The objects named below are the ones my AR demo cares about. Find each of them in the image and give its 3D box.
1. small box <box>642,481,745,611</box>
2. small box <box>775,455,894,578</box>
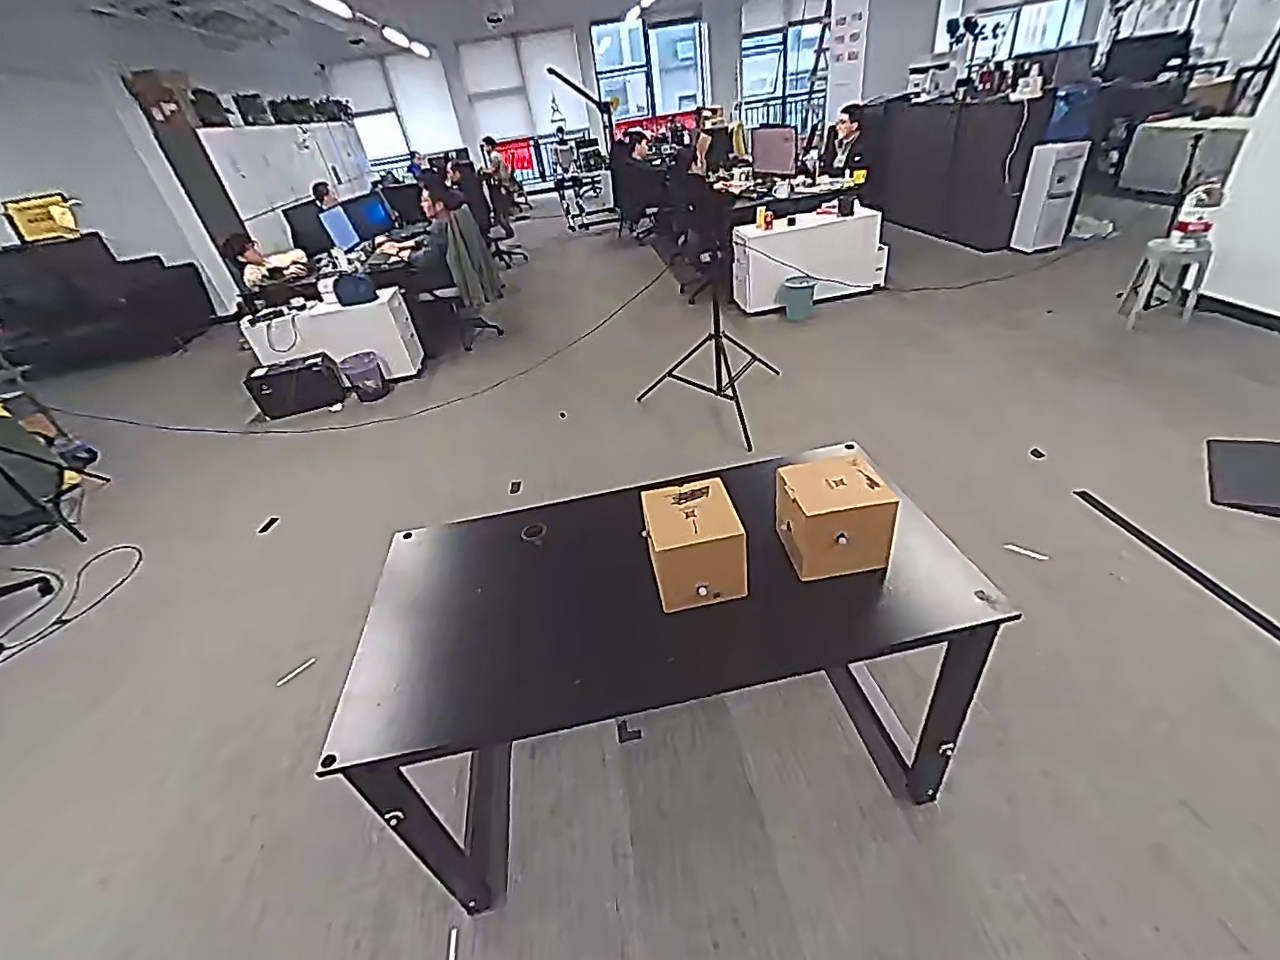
[{"bbox_3d":[0.103,0.128,1.068,0.168,0.176,0.179,-11,36,-2],"label":"small box"},{"bbox_3d":[0.379,0.076,1.078,0.179,0.176,0.168,-10,35,0],"label":"small box"}]
